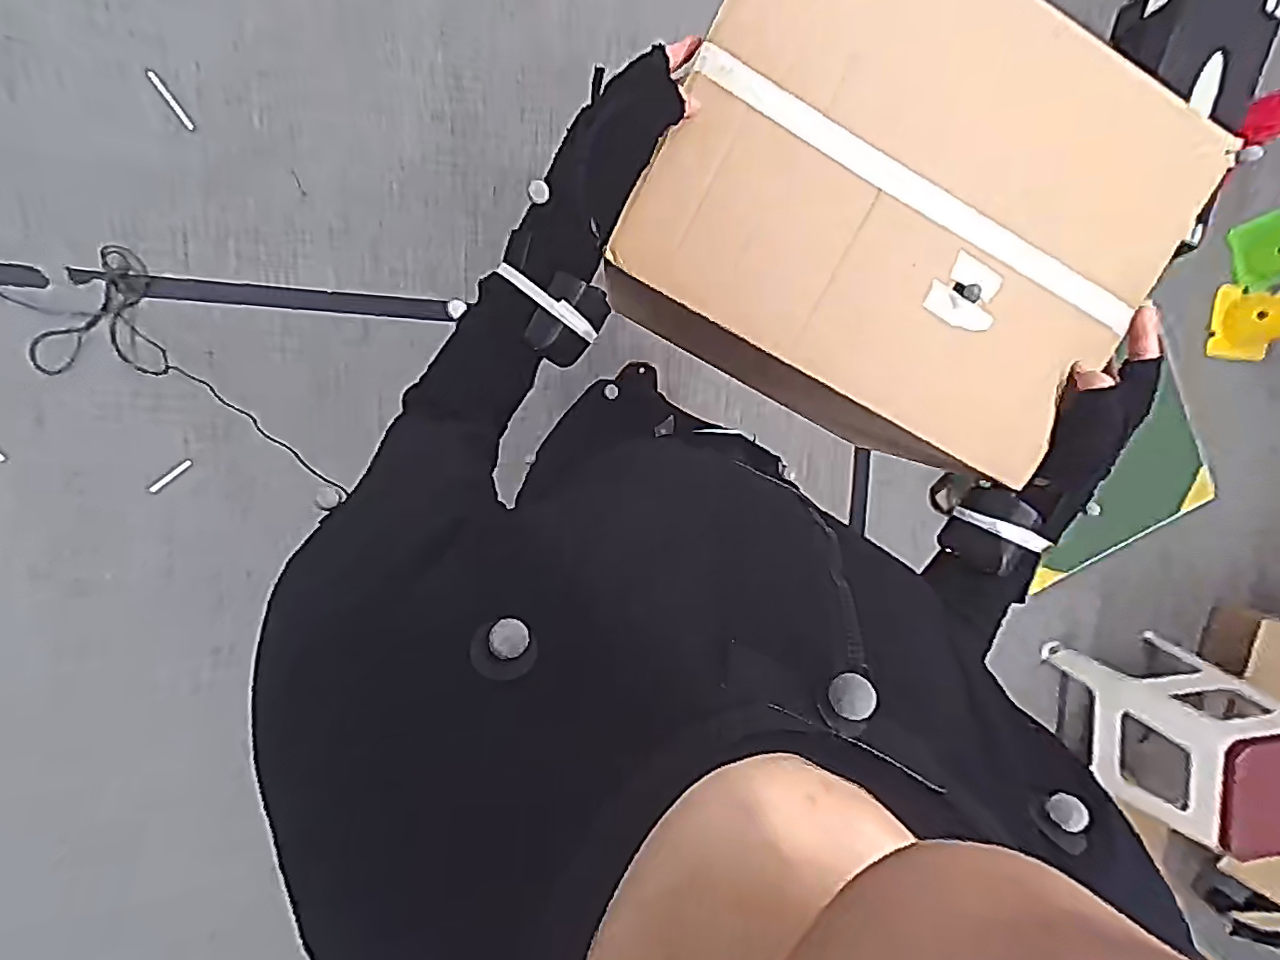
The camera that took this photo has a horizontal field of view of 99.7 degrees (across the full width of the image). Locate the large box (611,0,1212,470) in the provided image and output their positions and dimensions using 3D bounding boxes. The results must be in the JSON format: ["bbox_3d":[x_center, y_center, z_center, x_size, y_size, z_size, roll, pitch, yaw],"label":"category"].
[{"bbox_3d":[0.211,-0.255,0.577,0.408,0.320,0.320,27,99,-8],"label":"large box"}]
